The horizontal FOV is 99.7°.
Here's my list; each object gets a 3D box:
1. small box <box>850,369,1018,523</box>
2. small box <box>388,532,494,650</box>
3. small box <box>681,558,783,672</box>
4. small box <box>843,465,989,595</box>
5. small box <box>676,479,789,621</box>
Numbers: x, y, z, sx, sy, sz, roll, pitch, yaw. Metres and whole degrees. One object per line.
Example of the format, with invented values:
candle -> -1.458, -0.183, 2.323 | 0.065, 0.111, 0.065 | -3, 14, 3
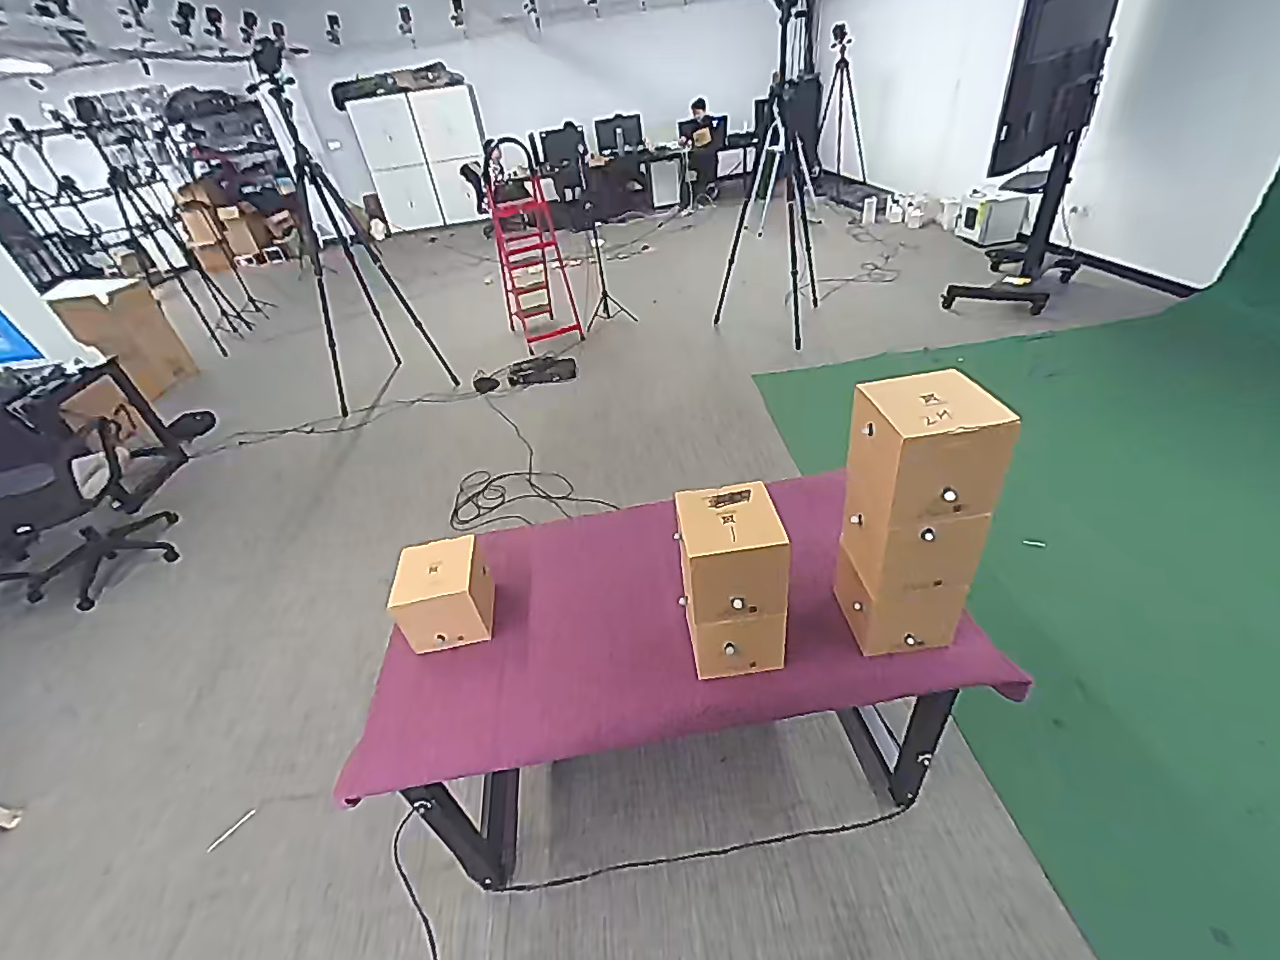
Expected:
small box -> 0.450, -0.055, 0.866 | 0.168, 0.176, 0.179 | -9, 37, 2
small box -> -0.429, 0.246, 1.201 | 0.168, 0.176, 0.179 | -11, 38, -3
small box -> 0.179, 0.258, 1.063 | 0.168, 0.176, 0.179 | -9, 35, 1
small box -> 0.473, 0.078, 0.960 | 0.168, 0.176, 0.179 | -9, 35, 3
small box -> 0.159, 0.124, 0.969 | 0.168, 0.176, 0.179 | -9, 36, 1
